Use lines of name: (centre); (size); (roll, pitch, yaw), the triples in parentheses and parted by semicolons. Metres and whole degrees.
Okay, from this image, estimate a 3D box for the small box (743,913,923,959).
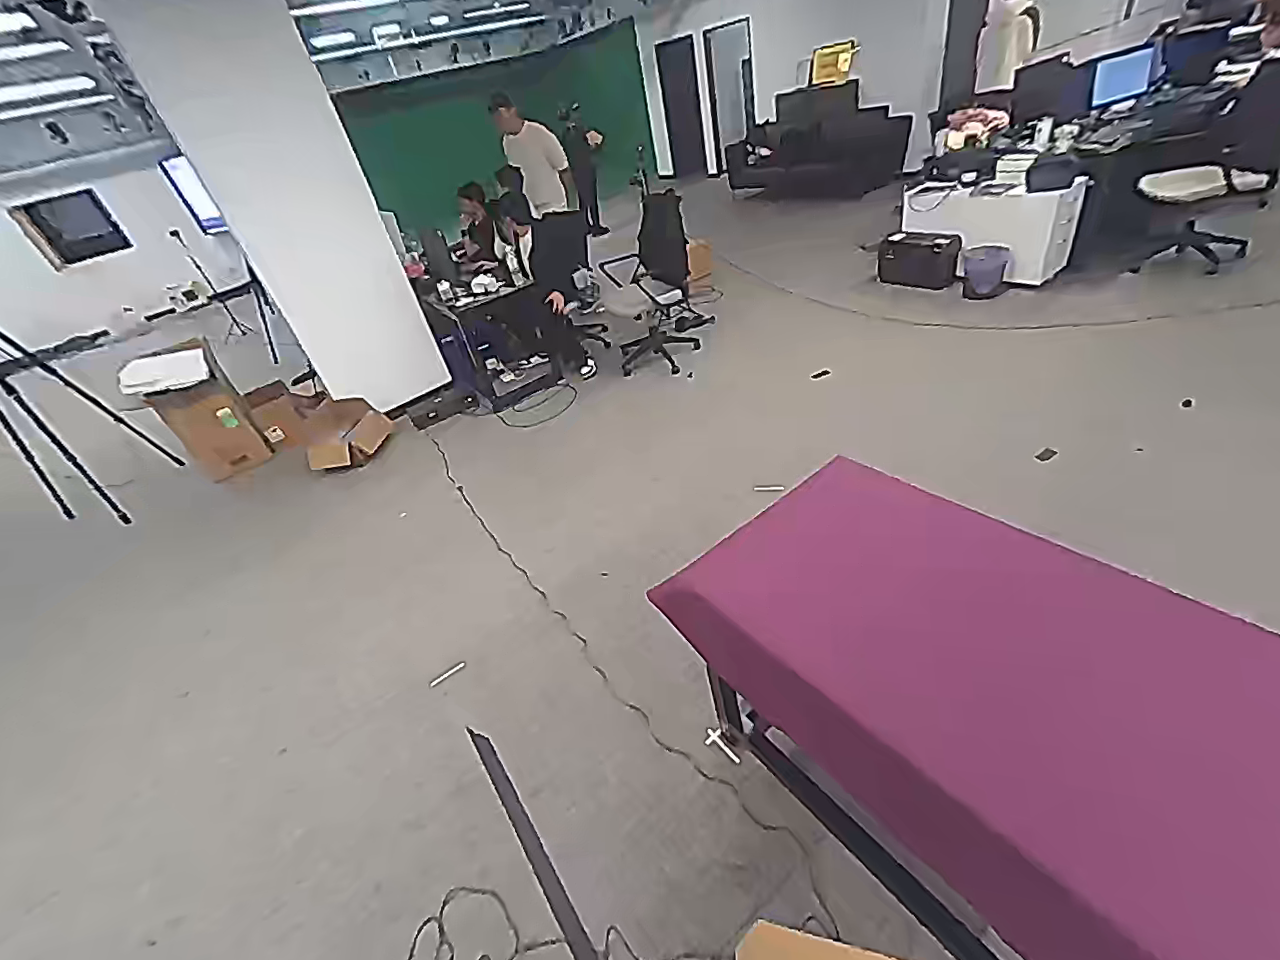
small box: (0.186, 0.574, 0.534); (0.168, 0.176, 0.179); (8, 43, 11)
